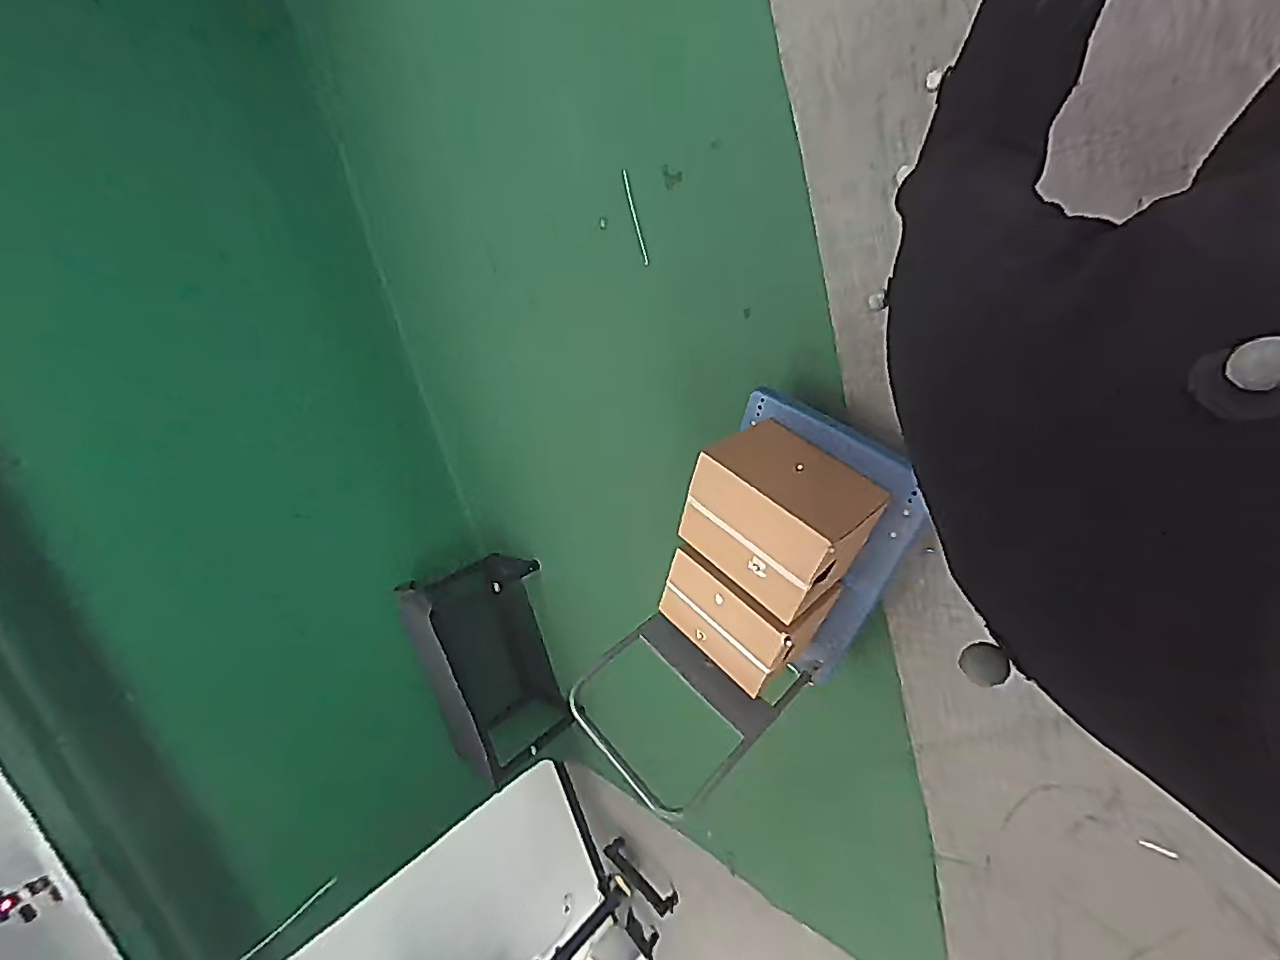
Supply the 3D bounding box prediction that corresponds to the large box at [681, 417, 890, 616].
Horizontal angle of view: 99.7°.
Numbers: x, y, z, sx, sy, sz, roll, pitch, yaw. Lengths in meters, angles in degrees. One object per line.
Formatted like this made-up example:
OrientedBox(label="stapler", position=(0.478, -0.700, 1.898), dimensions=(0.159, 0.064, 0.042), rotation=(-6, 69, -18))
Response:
OrientedBox(label="large box", position=(0.382, 0.081, 1.483), dimensions=(0.408, 0.320, 0.320), rotation=(38, 136, 29))
